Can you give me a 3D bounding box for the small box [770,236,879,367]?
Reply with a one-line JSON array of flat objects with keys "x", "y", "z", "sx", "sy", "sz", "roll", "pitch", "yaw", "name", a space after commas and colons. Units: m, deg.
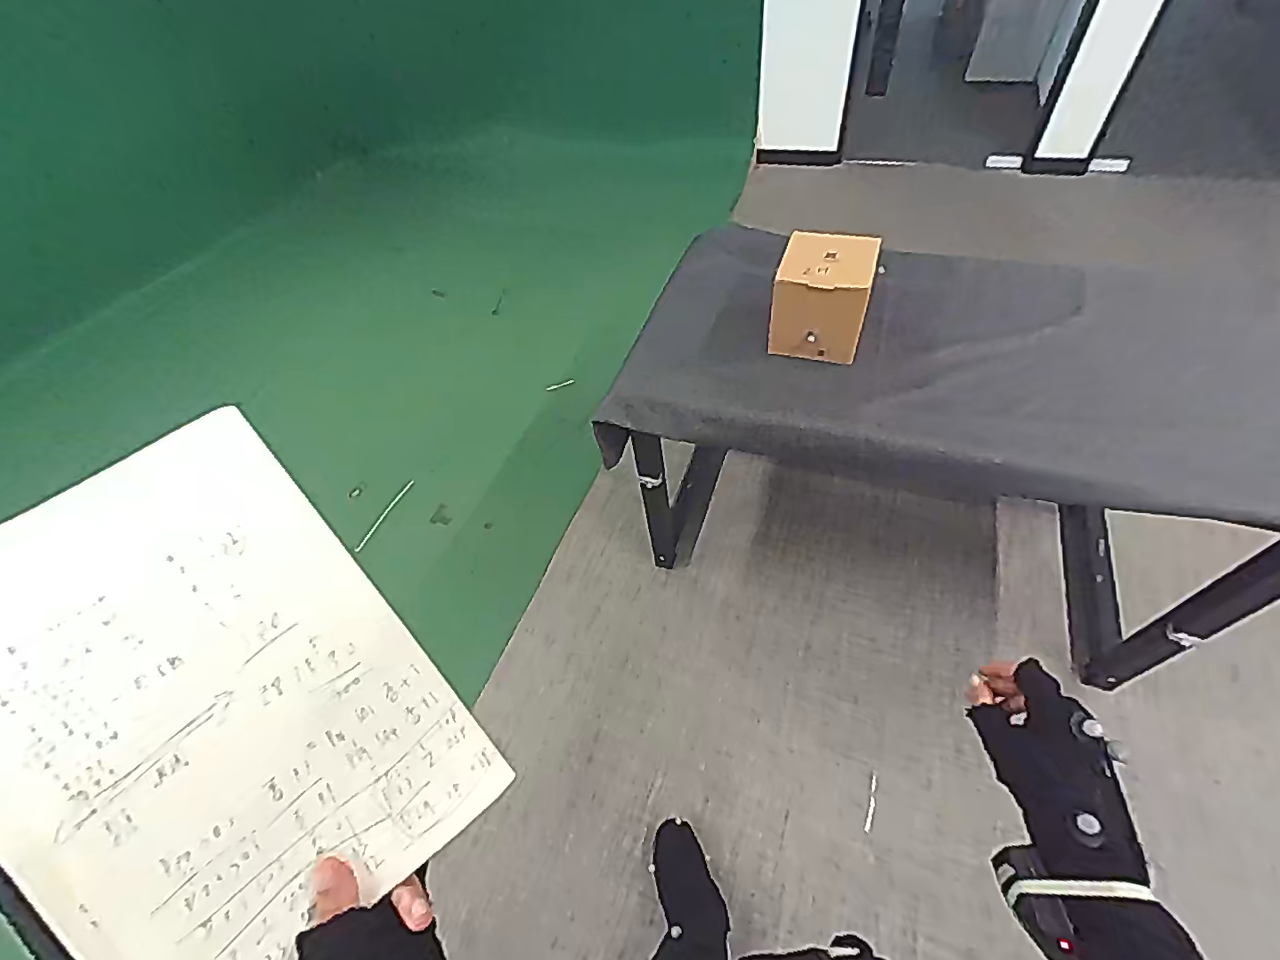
[{"x": 0.356, "y": -0.350, "z": 1.060, "sx": 0.168, "sy": 0.176, "sz": 0.179, "roll": 13, "pitch": 54, "yaw": 18, "name": "small box"}]
